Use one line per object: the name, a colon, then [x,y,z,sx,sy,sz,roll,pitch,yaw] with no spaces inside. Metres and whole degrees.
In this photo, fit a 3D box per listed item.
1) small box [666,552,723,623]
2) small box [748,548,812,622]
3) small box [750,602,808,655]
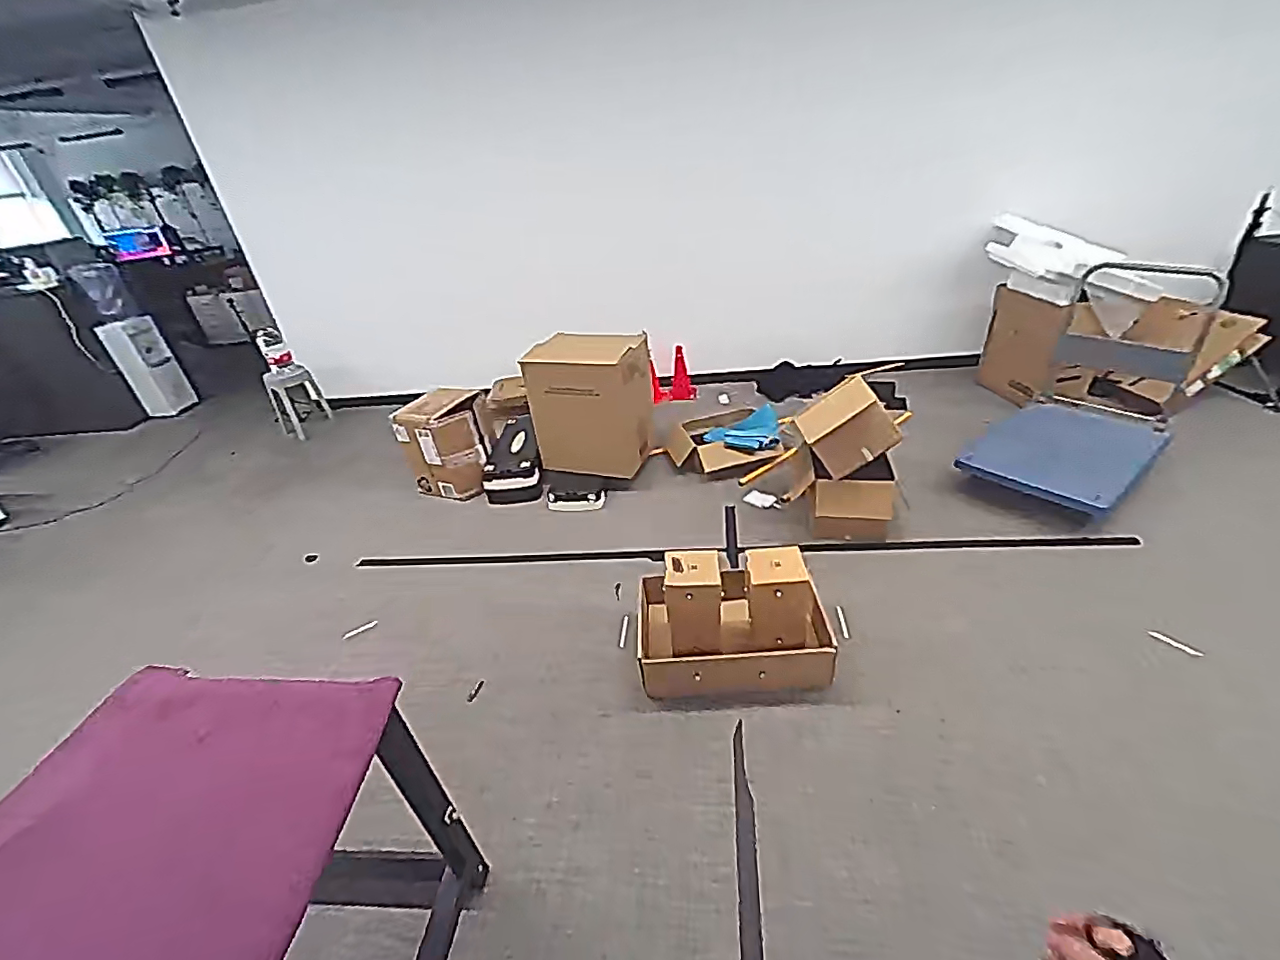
small box: [0.179,0.354,1.775,0.179,0.176,0.168,-2,32,5]
small box: [0.445,0.340,1.745,0.179,0.176,0.168,-6,32,5]
small box: [0.467,0.476,1.831,0.168,0.176,0.179,-4,31,5]
